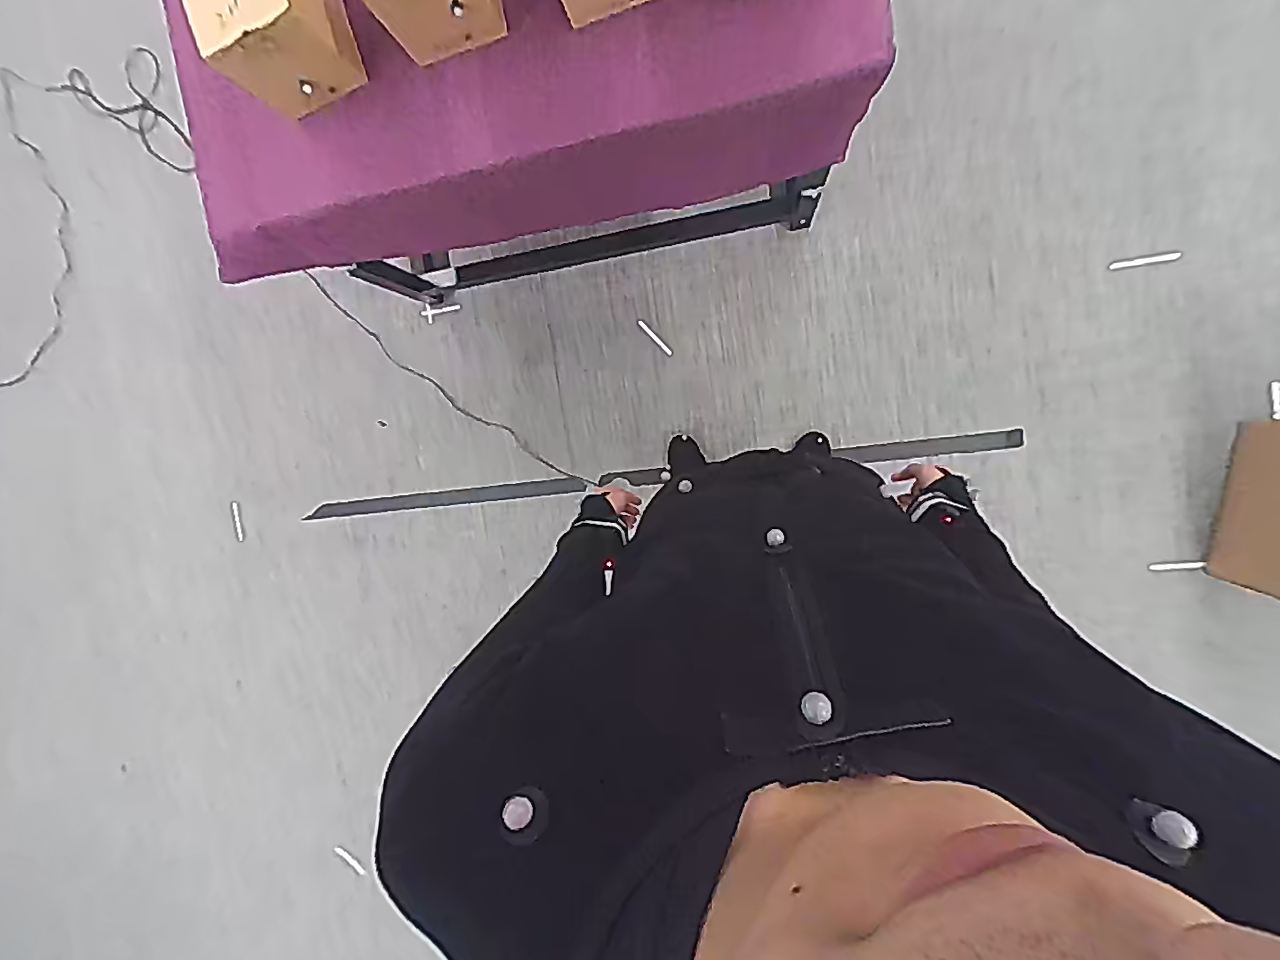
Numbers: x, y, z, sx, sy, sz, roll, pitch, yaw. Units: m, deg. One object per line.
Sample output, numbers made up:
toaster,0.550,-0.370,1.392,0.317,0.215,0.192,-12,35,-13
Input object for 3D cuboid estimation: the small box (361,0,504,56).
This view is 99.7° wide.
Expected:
small box,-0.321,-0.784,0.809,0.168,0.176,0.179,-10,94,10

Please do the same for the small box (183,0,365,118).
small box,-0.581,-0.733,0.860,0.168,0.176,0.179,-17,93,12
